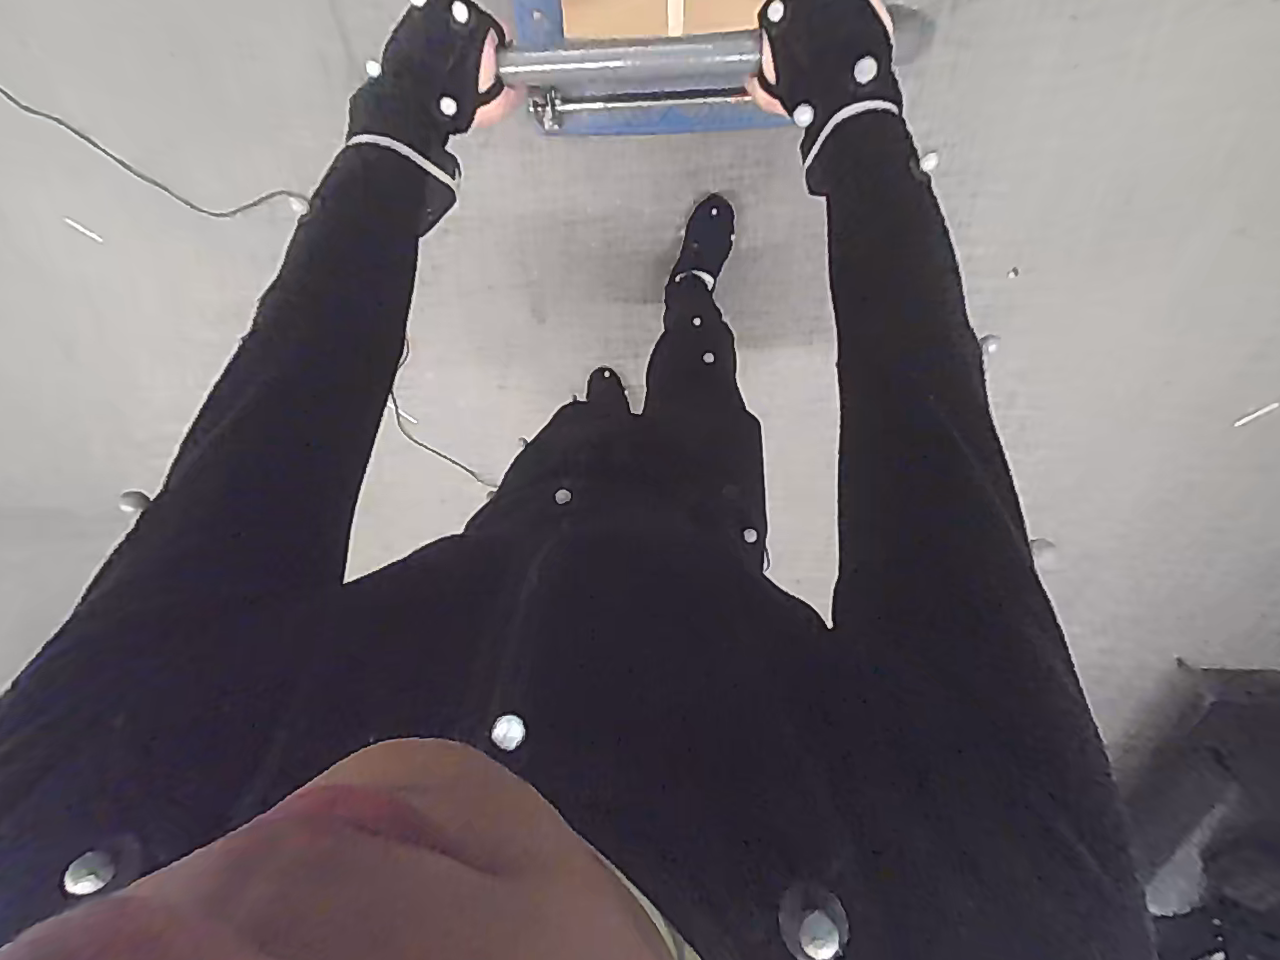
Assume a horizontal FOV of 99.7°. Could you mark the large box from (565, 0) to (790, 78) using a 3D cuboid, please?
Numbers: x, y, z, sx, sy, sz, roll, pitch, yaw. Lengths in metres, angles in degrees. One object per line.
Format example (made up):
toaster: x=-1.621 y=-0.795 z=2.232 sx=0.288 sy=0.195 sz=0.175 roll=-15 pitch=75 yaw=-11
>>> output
large box: x=0.056 y=-0.864 z=0.794 sx=0.320 sy=0.320 sz=0.408 roll=1 pitch=121 yaw=5
